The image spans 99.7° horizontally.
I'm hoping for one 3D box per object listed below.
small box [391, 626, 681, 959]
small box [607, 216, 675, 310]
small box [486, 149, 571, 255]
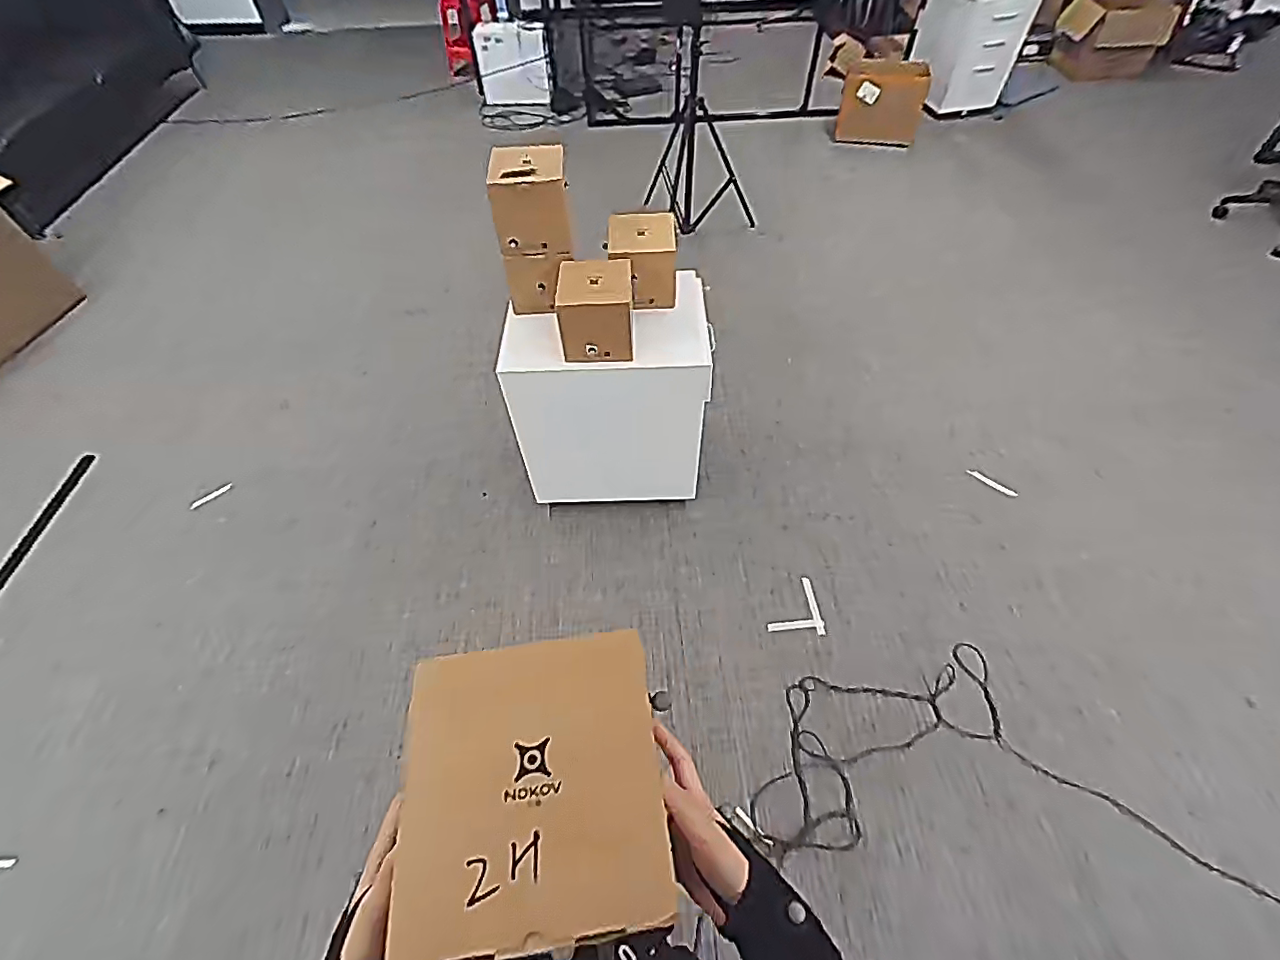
[{"bbox_3d":[-0.067,0.236,0.417,0.168,0.176,0.179,-8,54,-4],"label":"small box"},{"bbox_3d":[0.005,-0.557,1.402,0.168,0.176,0.179,-2,54,1],"label":"small box"},{"bbox_3d":[-0.252,-0.647,1.269,0.168,0.176,0.179,-4,54,-2],"label":"small box"}]
